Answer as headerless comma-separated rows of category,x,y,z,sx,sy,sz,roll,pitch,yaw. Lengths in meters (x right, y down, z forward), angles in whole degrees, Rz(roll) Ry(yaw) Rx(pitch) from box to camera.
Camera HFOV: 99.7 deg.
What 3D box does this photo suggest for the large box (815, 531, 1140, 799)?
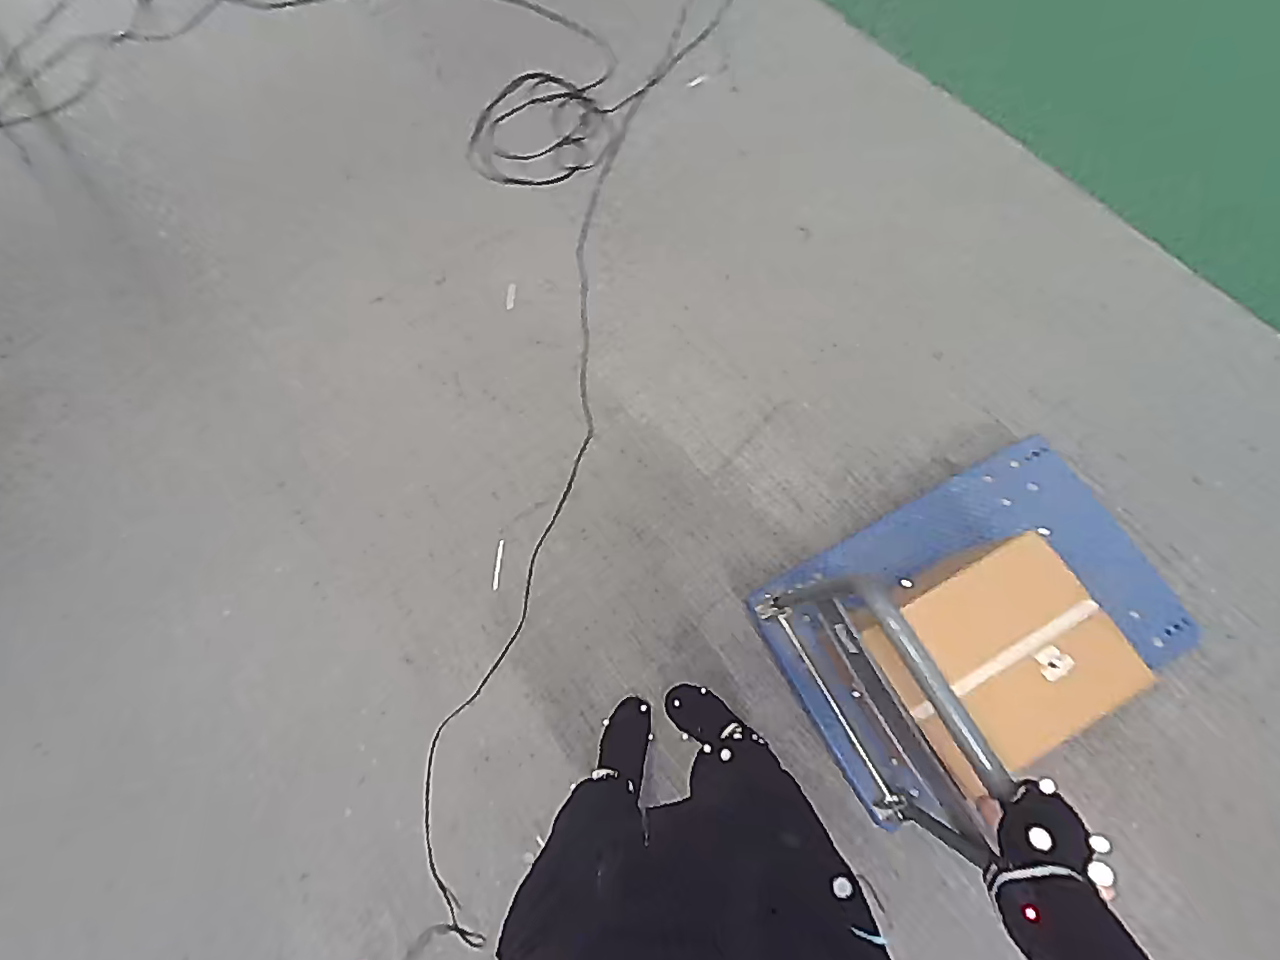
large box,0.643,0.362,1.111,0.408,0.320,0.320,-29,75,-6
